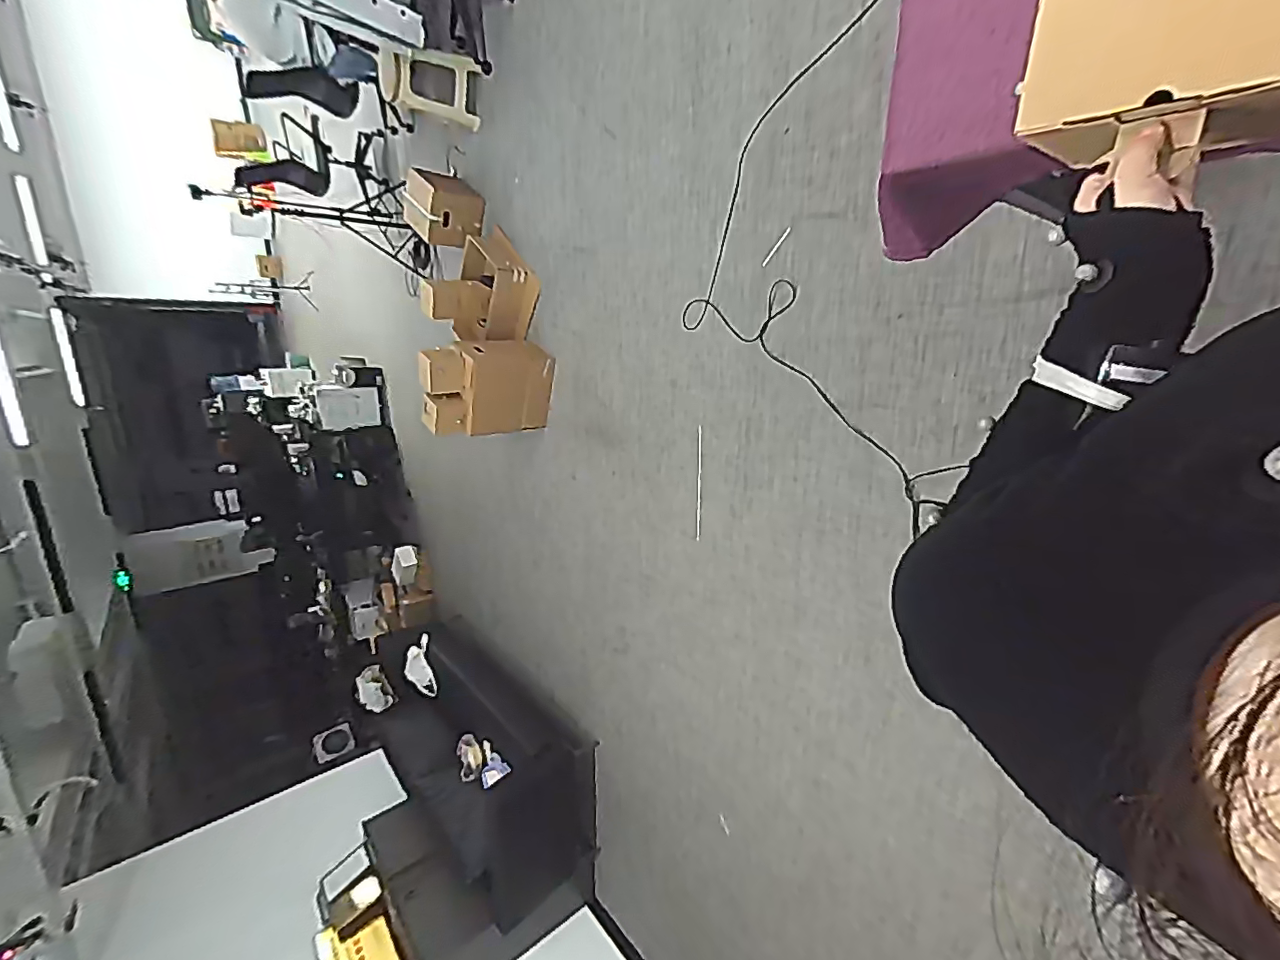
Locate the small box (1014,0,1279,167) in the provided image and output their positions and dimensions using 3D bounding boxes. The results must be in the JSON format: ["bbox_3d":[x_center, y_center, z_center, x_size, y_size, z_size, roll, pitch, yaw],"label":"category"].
[{"bbox_3d":[0.413,-0.352,0.398,0.168,0.176,0.179,20,118,46],"label":"small box"}]
